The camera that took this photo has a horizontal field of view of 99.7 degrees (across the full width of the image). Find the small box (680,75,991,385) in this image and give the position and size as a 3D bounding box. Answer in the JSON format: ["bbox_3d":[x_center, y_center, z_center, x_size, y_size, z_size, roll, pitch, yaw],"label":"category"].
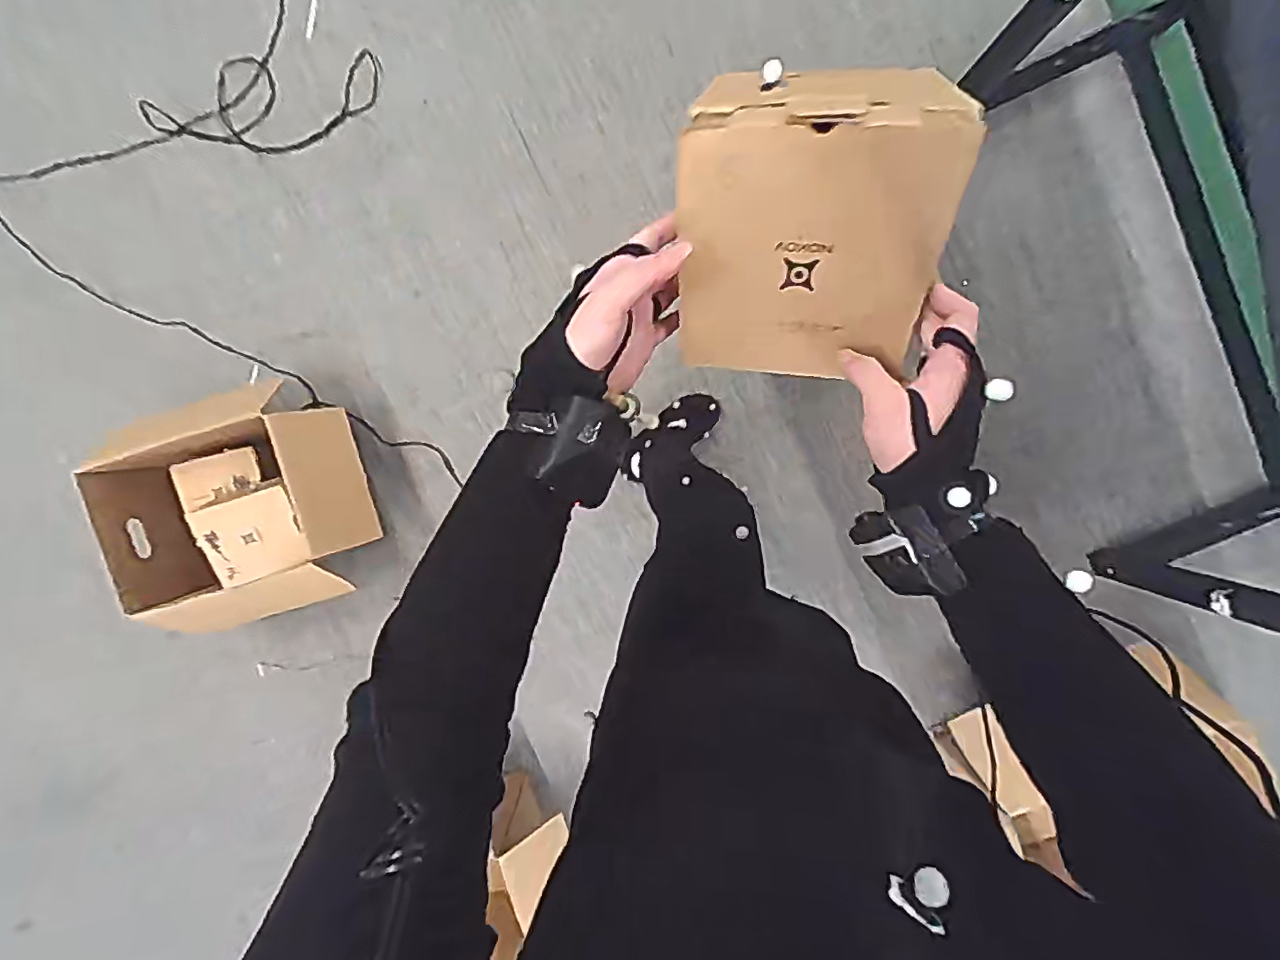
[{"bbox_3d":[0.128,-0.198,0.417,0.168,0.176,0.179,9,132,10],"label":"small box"}]
